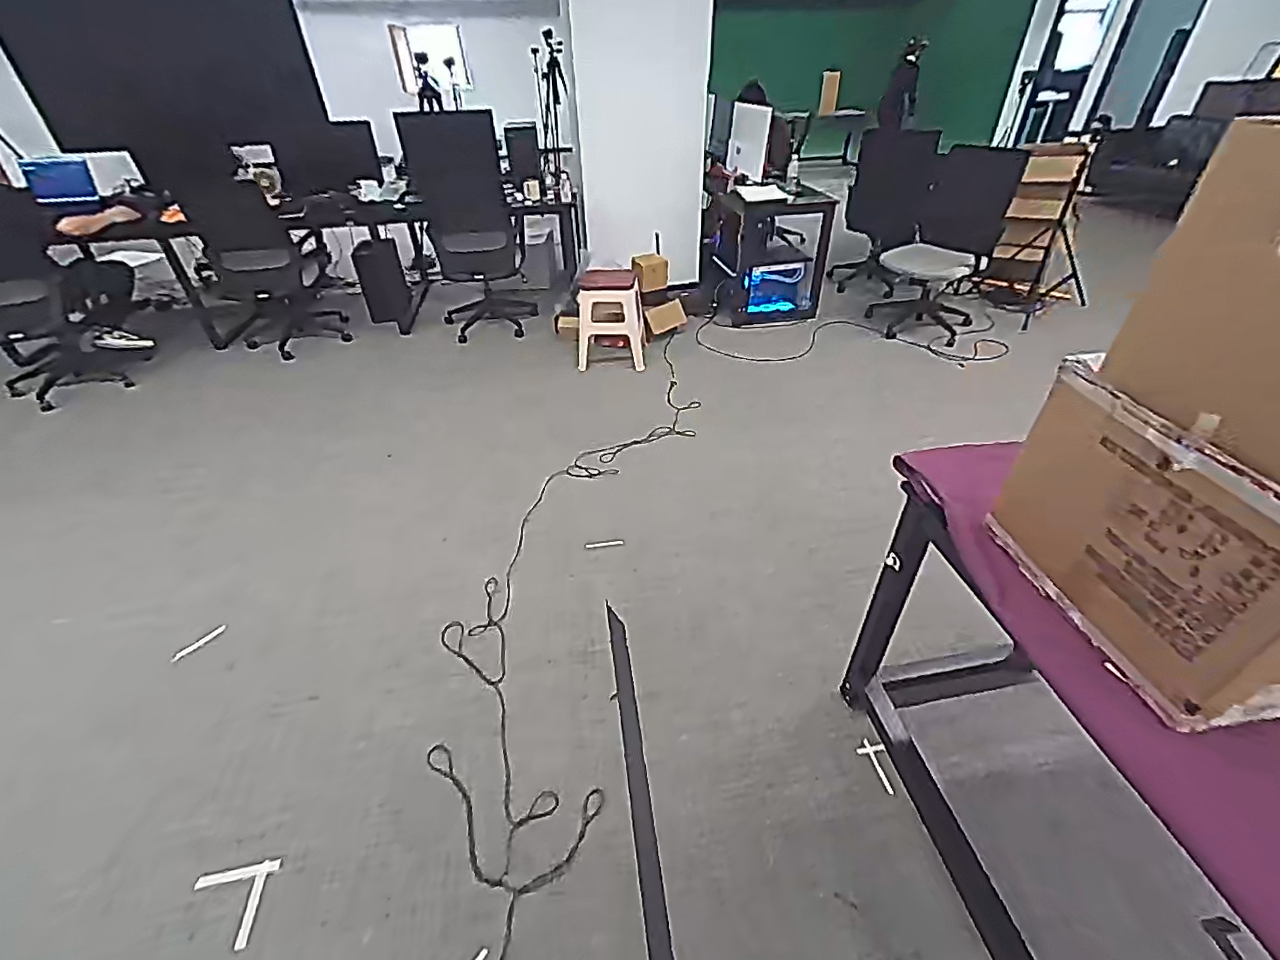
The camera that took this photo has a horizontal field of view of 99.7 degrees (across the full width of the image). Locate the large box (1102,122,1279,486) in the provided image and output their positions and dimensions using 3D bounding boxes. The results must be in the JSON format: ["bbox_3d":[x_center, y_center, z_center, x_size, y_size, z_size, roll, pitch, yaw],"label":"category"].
[{"bbox_3d":[0.842,-0.185,0.558,0.408,0.320,0.320,-7,36,-6],"label":"large box"}]
